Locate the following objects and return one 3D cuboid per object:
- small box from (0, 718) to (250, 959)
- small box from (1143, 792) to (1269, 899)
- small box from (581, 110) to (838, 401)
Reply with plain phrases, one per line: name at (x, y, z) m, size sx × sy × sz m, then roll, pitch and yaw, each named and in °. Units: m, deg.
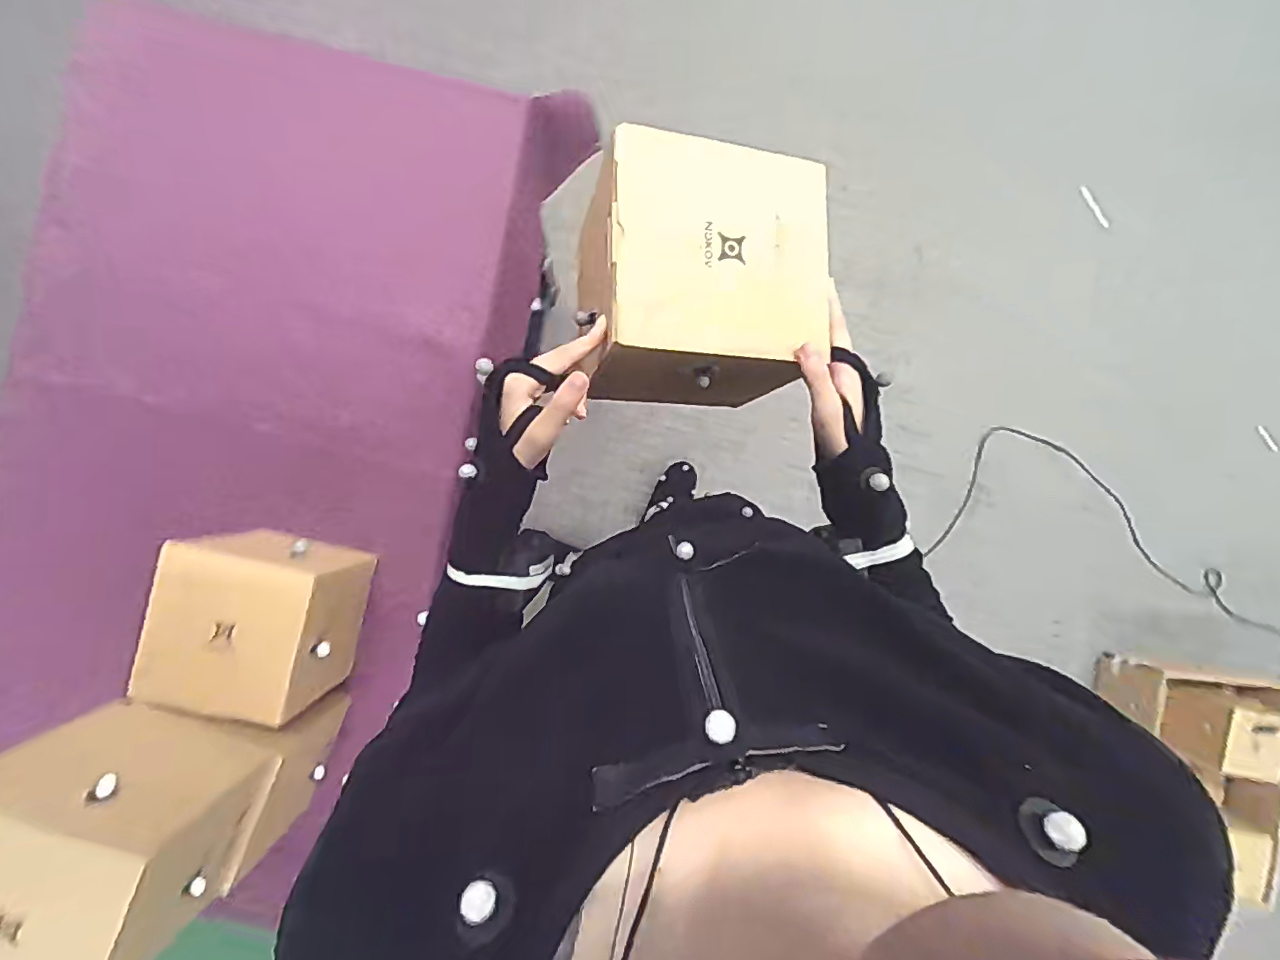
small box at (-0.502, 0.342, 0.481) m, size 0.179 × 0.176 × 0.168 m, roll 21°, pitch 88°, yaw -5°
small box at (1.544, 0.993, 1.485) m, size 0.168 × 0.176 × 0.179 m, roll 11°, pitch 89°, yaw -3°
small box at (0.047, -0.170, 0.473) m, size 0.179 × 0.176 × 0.168 m, roll 3°, pitch 85°, yaw -16°
